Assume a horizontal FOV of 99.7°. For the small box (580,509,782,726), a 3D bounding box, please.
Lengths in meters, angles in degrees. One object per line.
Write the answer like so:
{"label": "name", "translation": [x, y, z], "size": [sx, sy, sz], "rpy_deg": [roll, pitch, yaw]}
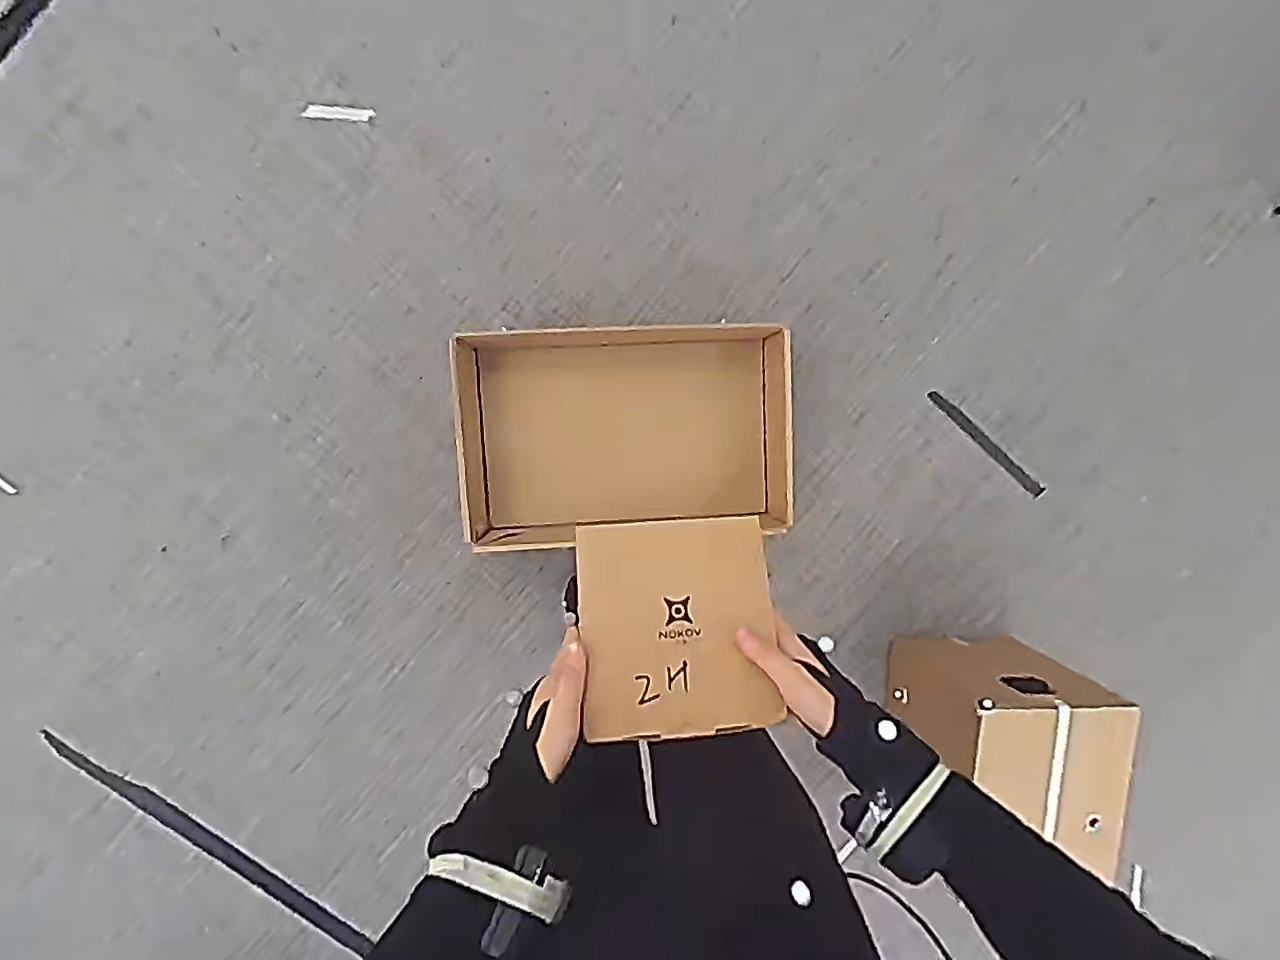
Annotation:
{"label": "small box", "translation": [0.025, 0.136, 0.538], "size": [0.168, 0.176, 0.179], "rpy_deg": [-3, 73, -5]}
